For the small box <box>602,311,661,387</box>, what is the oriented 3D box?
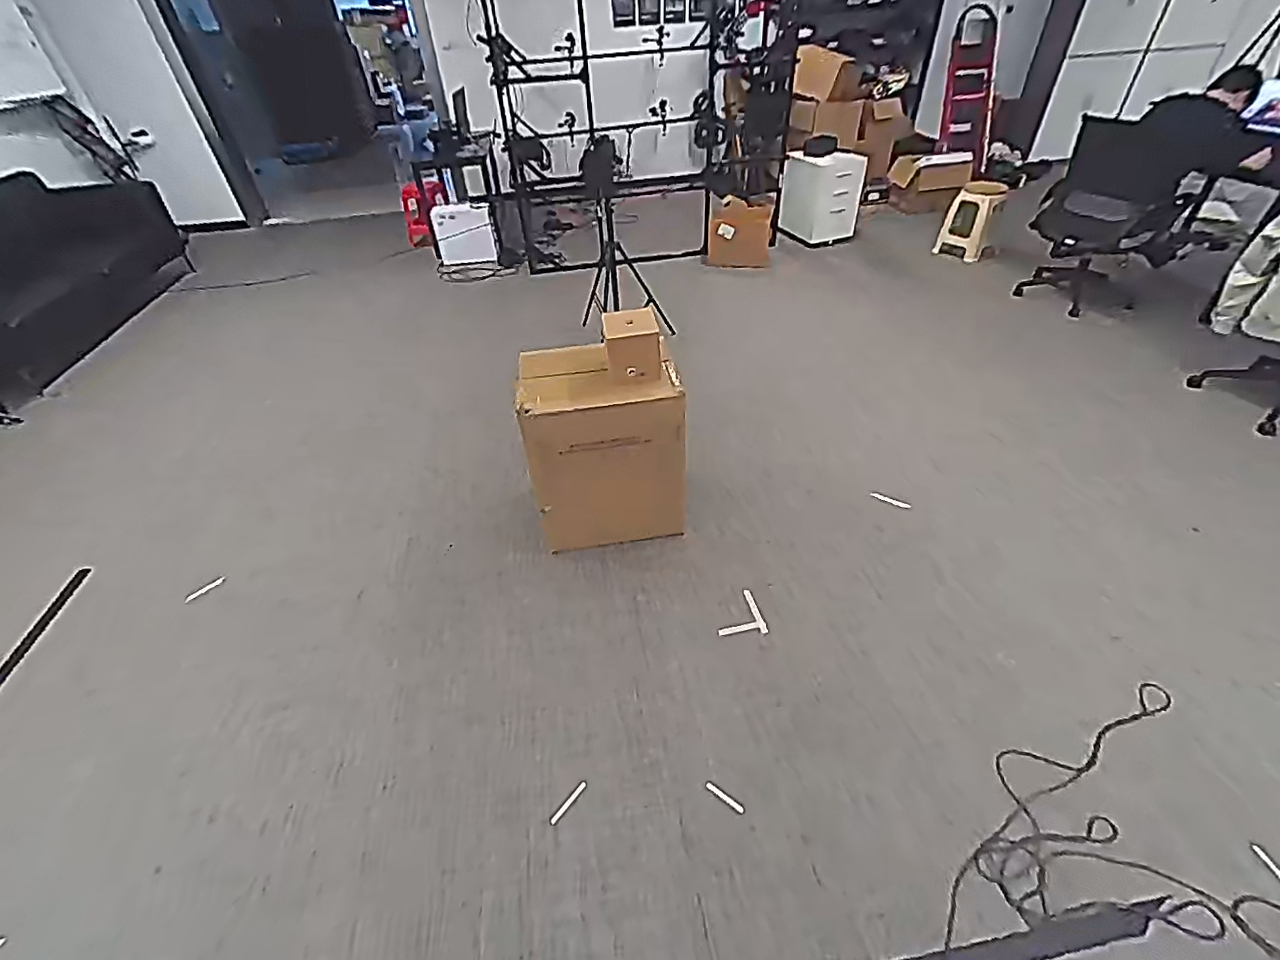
[{"bbox_3d":[-0.027,-0.421,1.740,0.168,0.176,0.179,-9,43,-3],"label":"small box"}]
